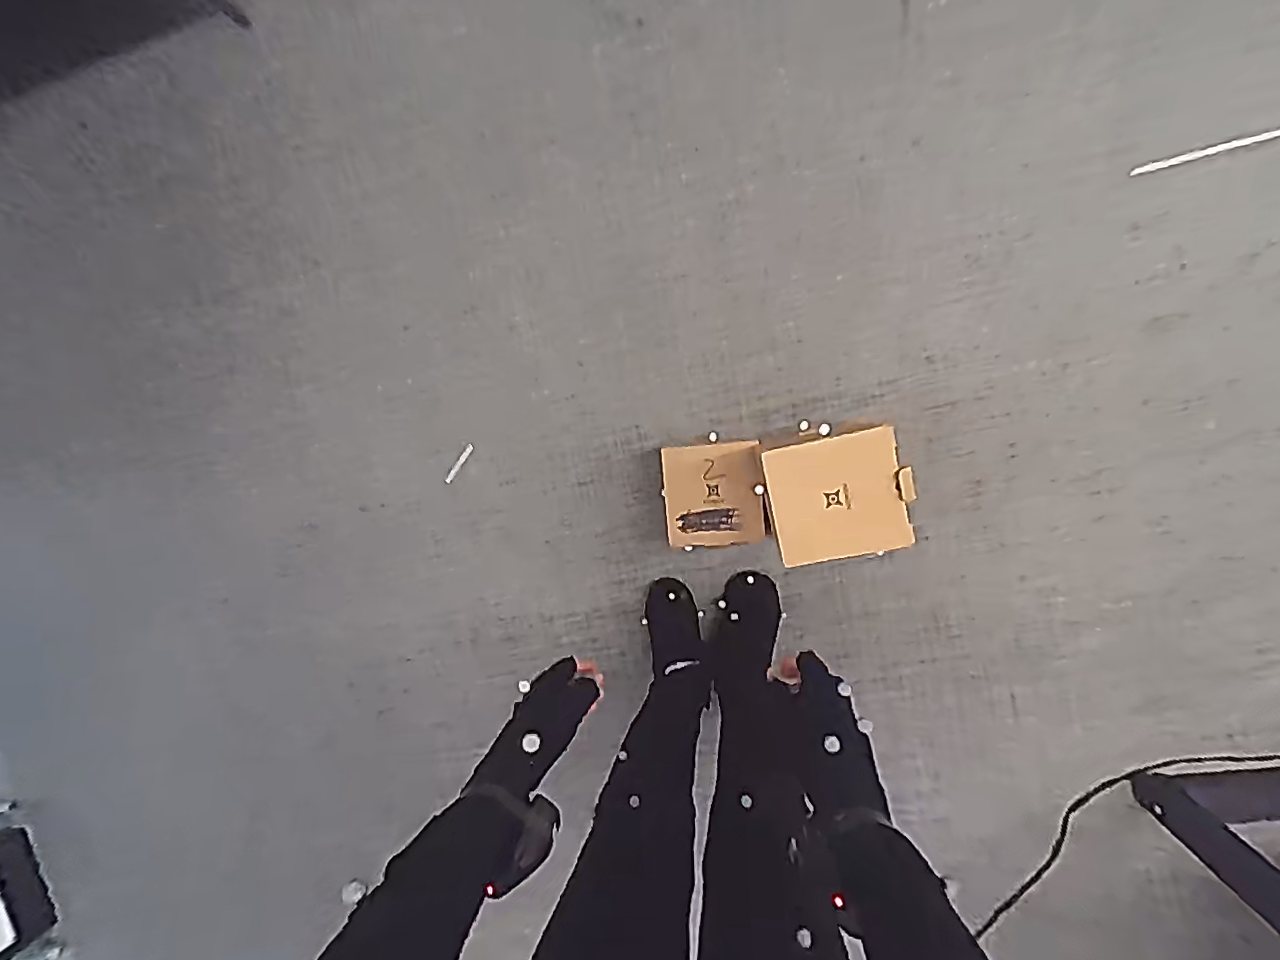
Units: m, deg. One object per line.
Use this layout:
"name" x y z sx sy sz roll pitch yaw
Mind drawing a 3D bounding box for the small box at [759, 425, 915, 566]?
"small box" 0.279 0.017 0.807 0.179 0.176 0.168 -13 94 10
